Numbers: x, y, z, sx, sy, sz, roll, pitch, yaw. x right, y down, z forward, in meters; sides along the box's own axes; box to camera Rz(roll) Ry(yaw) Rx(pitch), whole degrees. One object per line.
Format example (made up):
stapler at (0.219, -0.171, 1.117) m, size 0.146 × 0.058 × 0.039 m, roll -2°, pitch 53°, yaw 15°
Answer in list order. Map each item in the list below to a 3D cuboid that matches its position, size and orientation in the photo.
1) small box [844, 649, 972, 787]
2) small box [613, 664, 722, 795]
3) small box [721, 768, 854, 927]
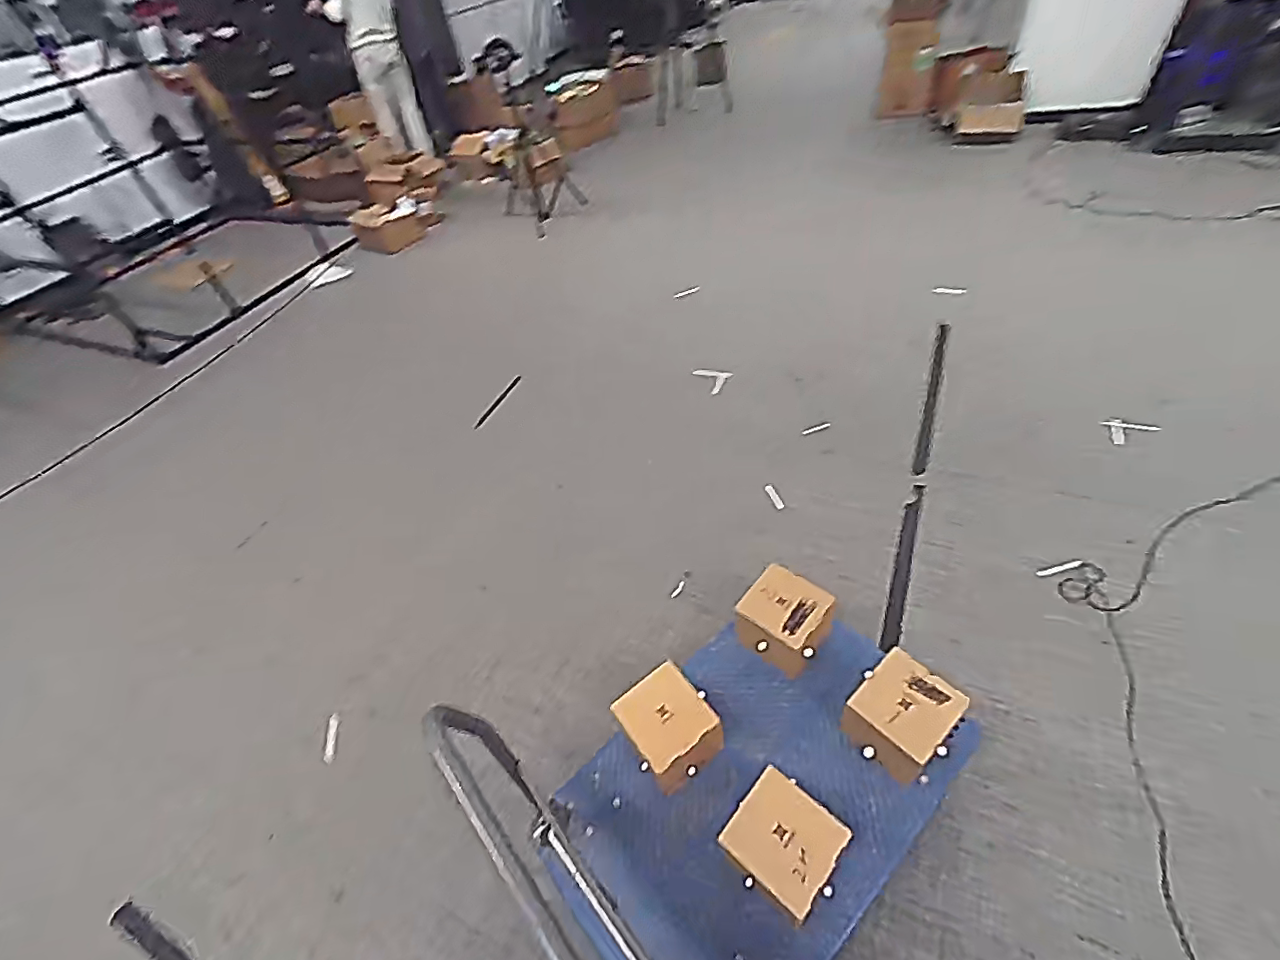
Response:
small box at (0.550, 0.500, 1.135) m, size 0.179 × 0.176 × 0.168 m, roll -38°, pitch 50°, yaw -20°
small box at (0.065, 0.553, 1.195) m, size 0.168 × 0.176 × 0.179 m, roll -34°, pitch 50°, yaw -19°
small box at (0.272, 0.692, 1.015) m, size 0.179 × 0.176 × 0.168 m, roll 30°, pitch 60°, yaw 34°
